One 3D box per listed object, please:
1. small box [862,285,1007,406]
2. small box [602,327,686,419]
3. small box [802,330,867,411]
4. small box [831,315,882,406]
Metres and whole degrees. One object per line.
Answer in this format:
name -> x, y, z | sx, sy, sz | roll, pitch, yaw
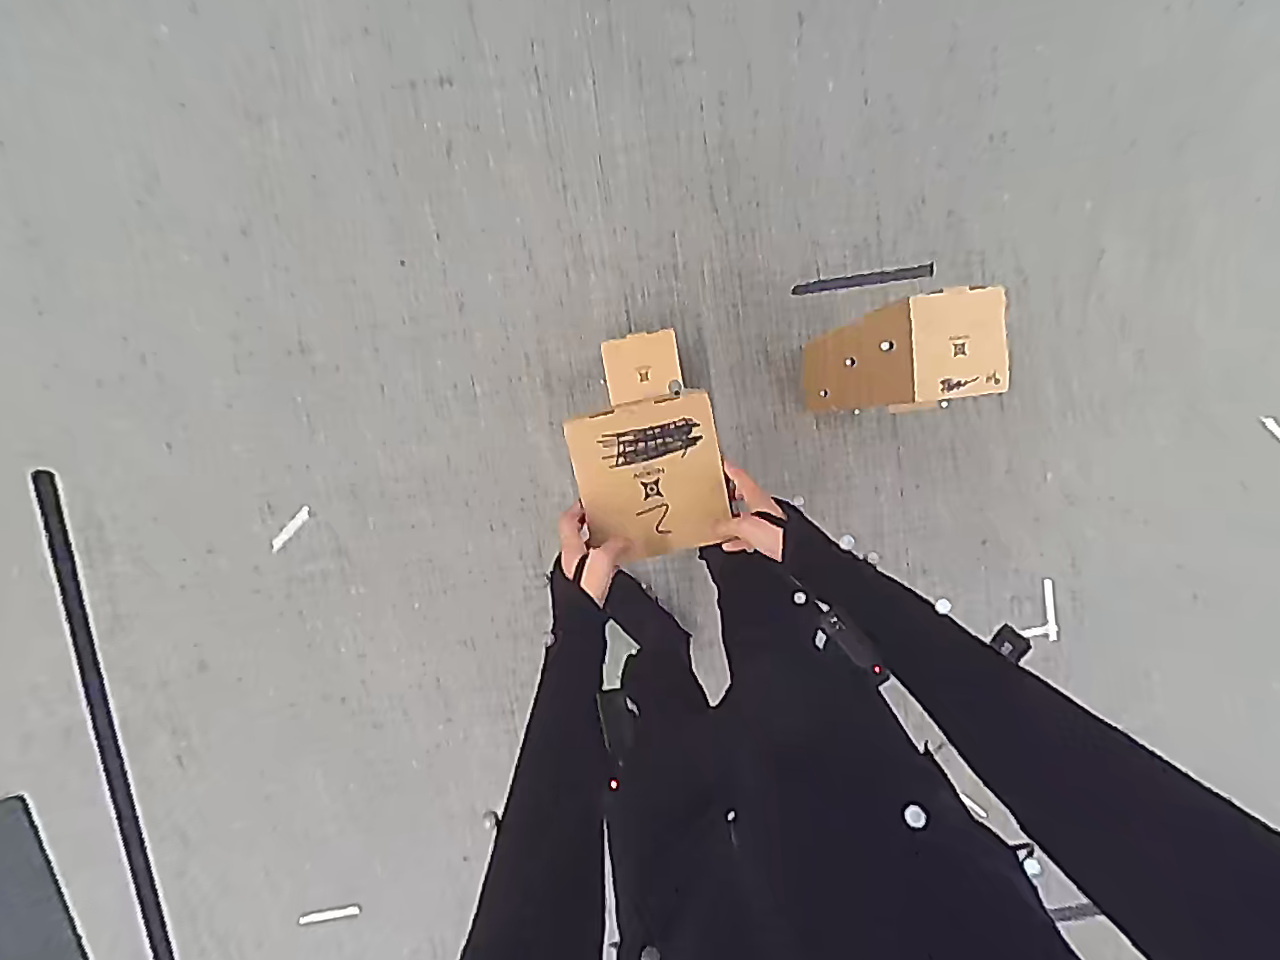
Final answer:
small box -> 0.511, -0.230, 0.960 | 0.168, 0.176, 0.179 | -7, 95, -3
small box -> 0.003, -0.241, 1.256 | 0.168, 0.176, 0.179 | -10, 96, -2
small box -> 0.496, -0.260, 1.287 | 0.168, 0.176, 0.179 | -6, 96, -3
small box -> 0.514, -0.246, 1.124 | 0.168, 0.176, 0.179 | -7, 96, -4
